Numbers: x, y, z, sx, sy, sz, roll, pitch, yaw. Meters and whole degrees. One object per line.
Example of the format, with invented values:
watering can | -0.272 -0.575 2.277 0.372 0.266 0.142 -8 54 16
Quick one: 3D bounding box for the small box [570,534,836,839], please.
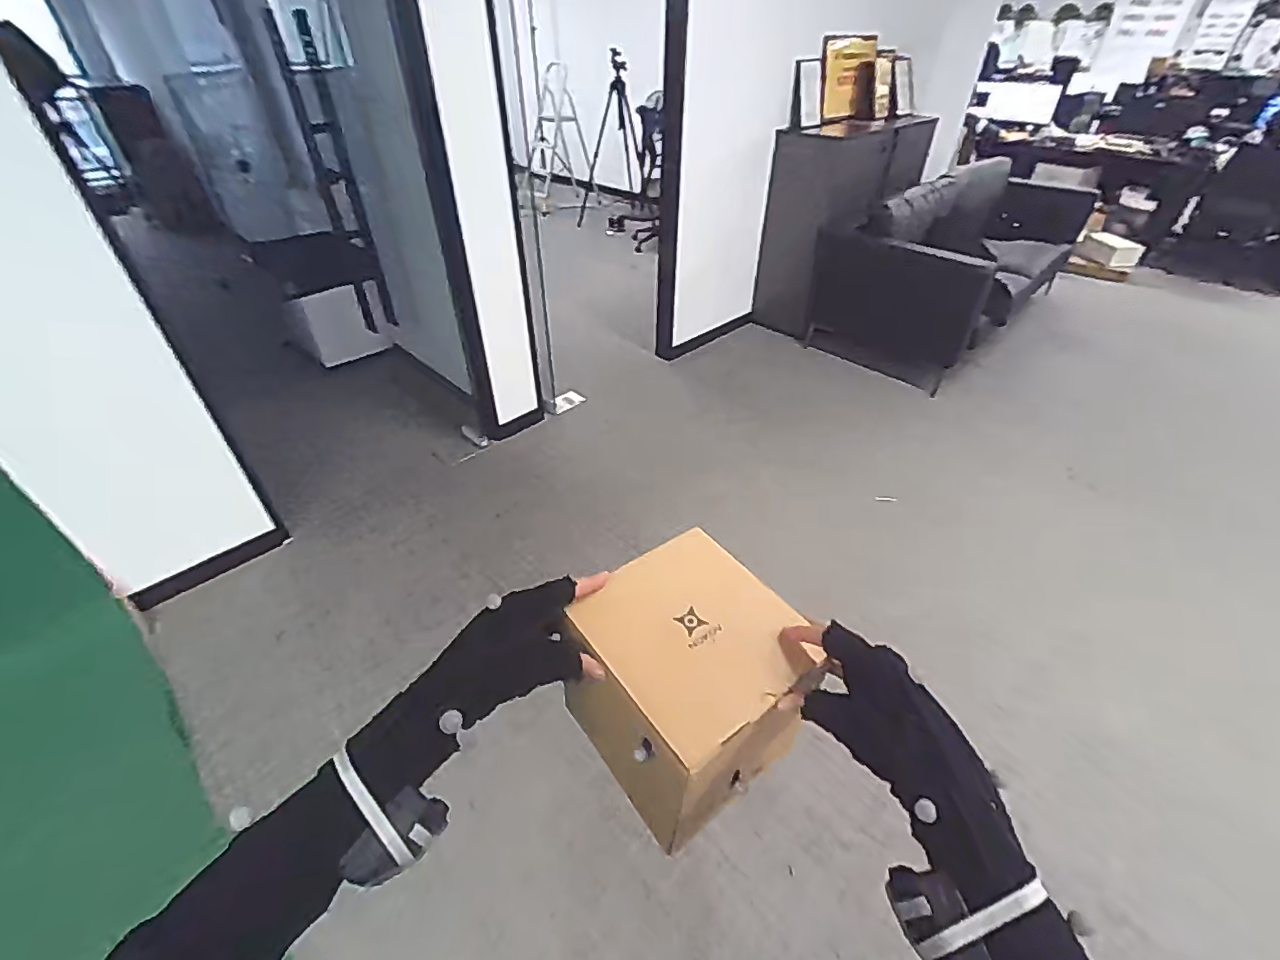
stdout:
small box | 0.045 0.188 0.514 0.168 0.176 0.179 -23 47 -30
